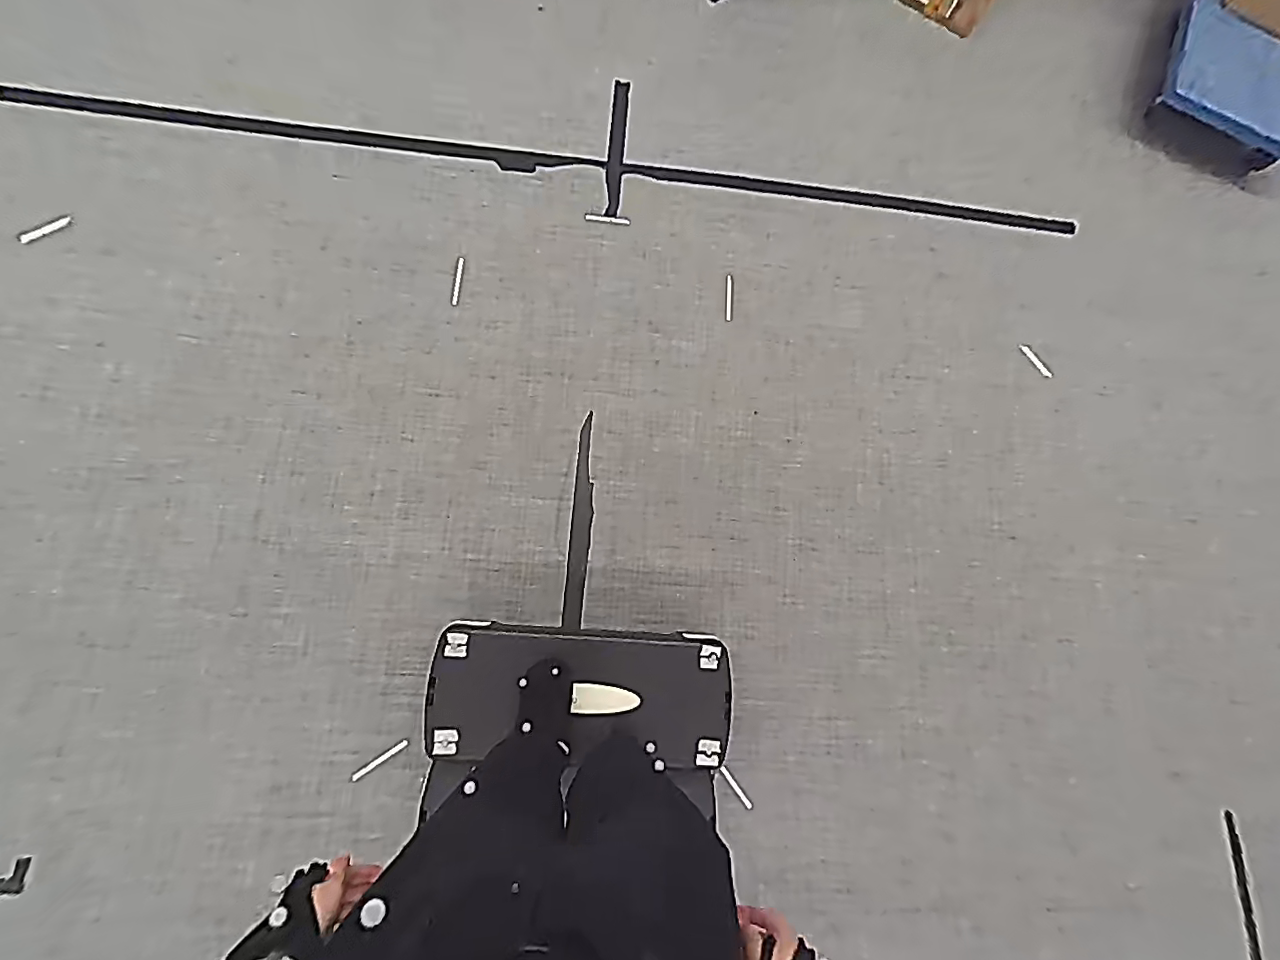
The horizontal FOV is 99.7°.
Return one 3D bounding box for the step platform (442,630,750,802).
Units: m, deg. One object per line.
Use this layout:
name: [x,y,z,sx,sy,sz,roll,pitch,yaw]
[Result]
step platform: [-0.093,0.537,1.253,0.684,0.204,0.286,10,75,-5]
